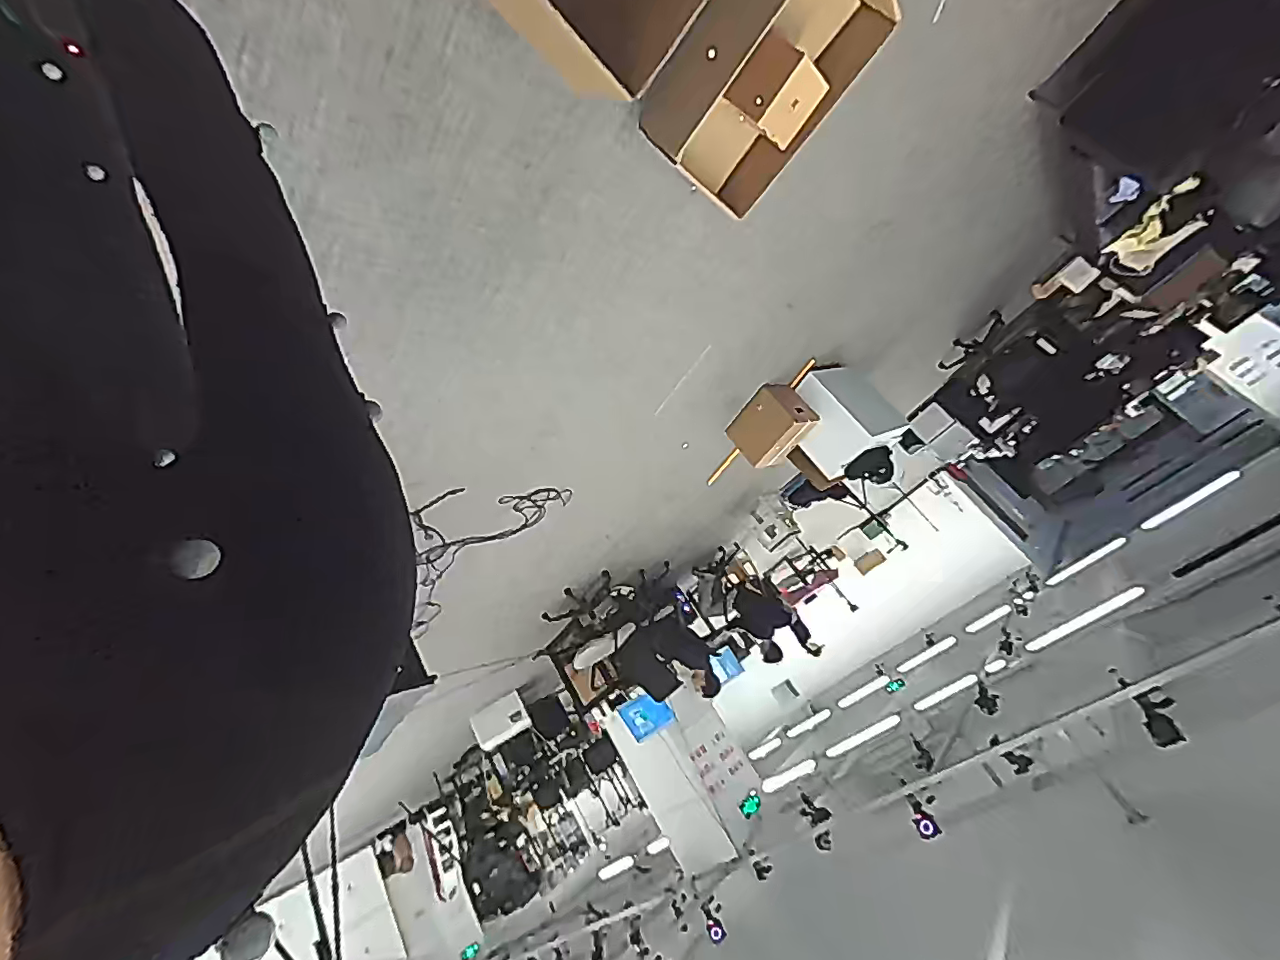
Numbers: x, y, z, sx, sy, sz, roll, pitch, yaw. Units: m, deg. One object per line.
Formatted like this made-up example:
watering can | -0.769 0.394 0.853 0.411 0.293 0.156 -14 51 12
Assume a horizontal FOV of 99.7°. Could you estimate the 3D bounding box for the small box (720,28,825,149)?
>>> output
small box | 0.346 -1.029 1.425 0.168 0.176 0.179 -5 144 -51
